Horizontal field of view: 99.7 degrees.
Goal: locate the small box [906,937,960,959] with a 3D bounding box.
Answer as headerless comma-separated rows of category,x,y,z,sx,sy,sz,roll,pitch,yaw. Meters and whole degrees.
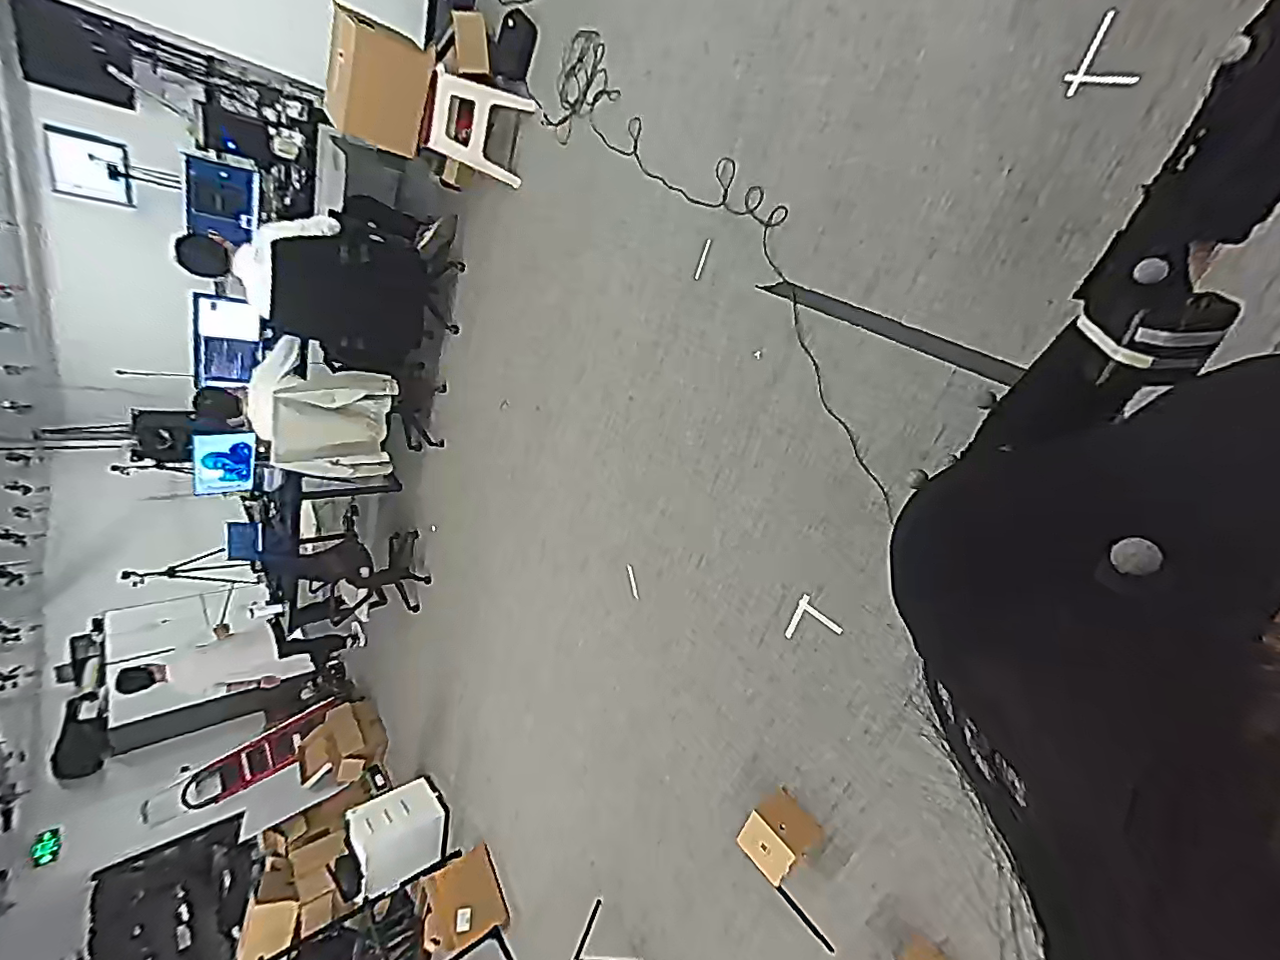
small box,0.818,1.418,1.486,0.179,0.176,0.168,37,121,38

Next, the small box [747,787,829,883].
small box,0.495,1.175,1.801,0.179,0.176,0.168,37,119,39
